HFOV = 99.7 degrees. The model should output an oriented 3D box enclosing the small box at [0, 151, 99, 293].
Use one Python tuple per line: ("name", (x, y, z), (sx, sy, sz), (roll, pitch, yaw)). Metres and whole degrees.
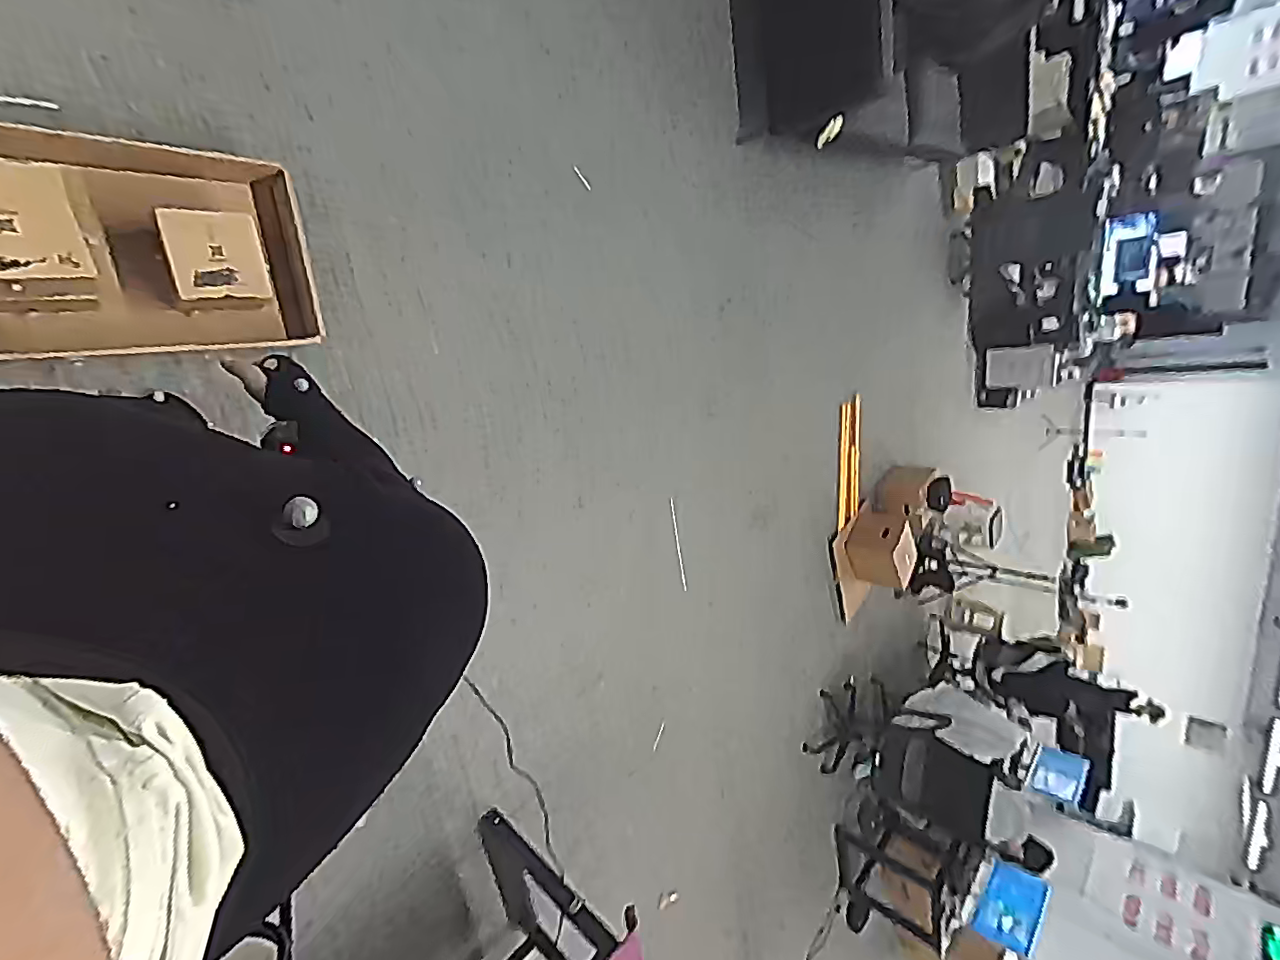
("small box", (-1.019, -0.410, 0.875), (0.168, 0.176, 0.179), (-20, 107, -40))
